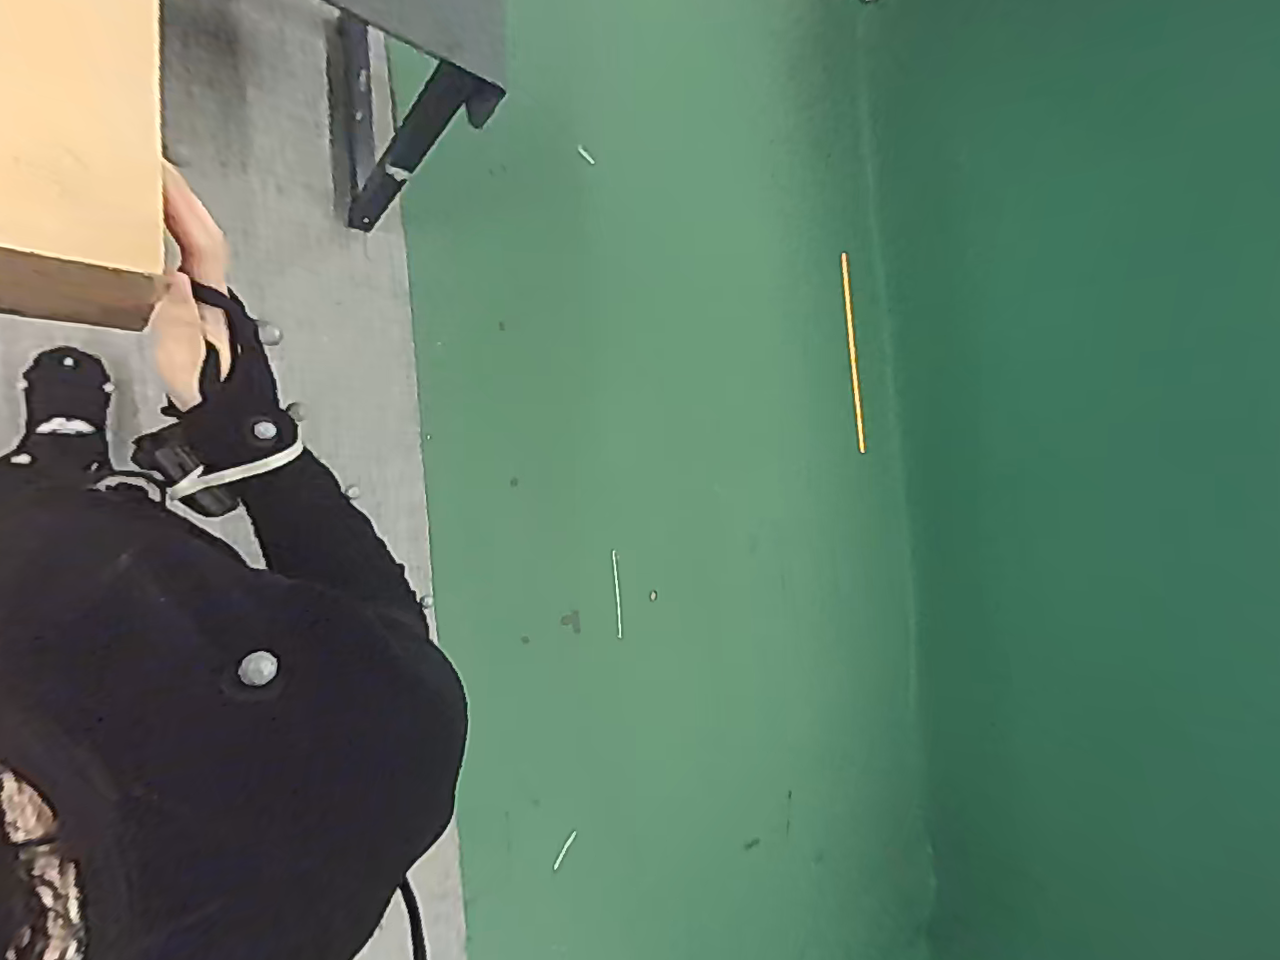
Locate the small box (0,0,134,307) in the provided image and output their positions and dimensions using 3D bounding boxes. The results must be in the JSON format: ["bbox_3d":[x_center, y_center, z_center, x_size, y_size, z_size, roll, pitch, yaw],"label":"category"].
[{"bbox_3d":[-0.346,-0.190,0.245,0.168,0.176,0.179,-1,94,-46],"label":"small box"}]
